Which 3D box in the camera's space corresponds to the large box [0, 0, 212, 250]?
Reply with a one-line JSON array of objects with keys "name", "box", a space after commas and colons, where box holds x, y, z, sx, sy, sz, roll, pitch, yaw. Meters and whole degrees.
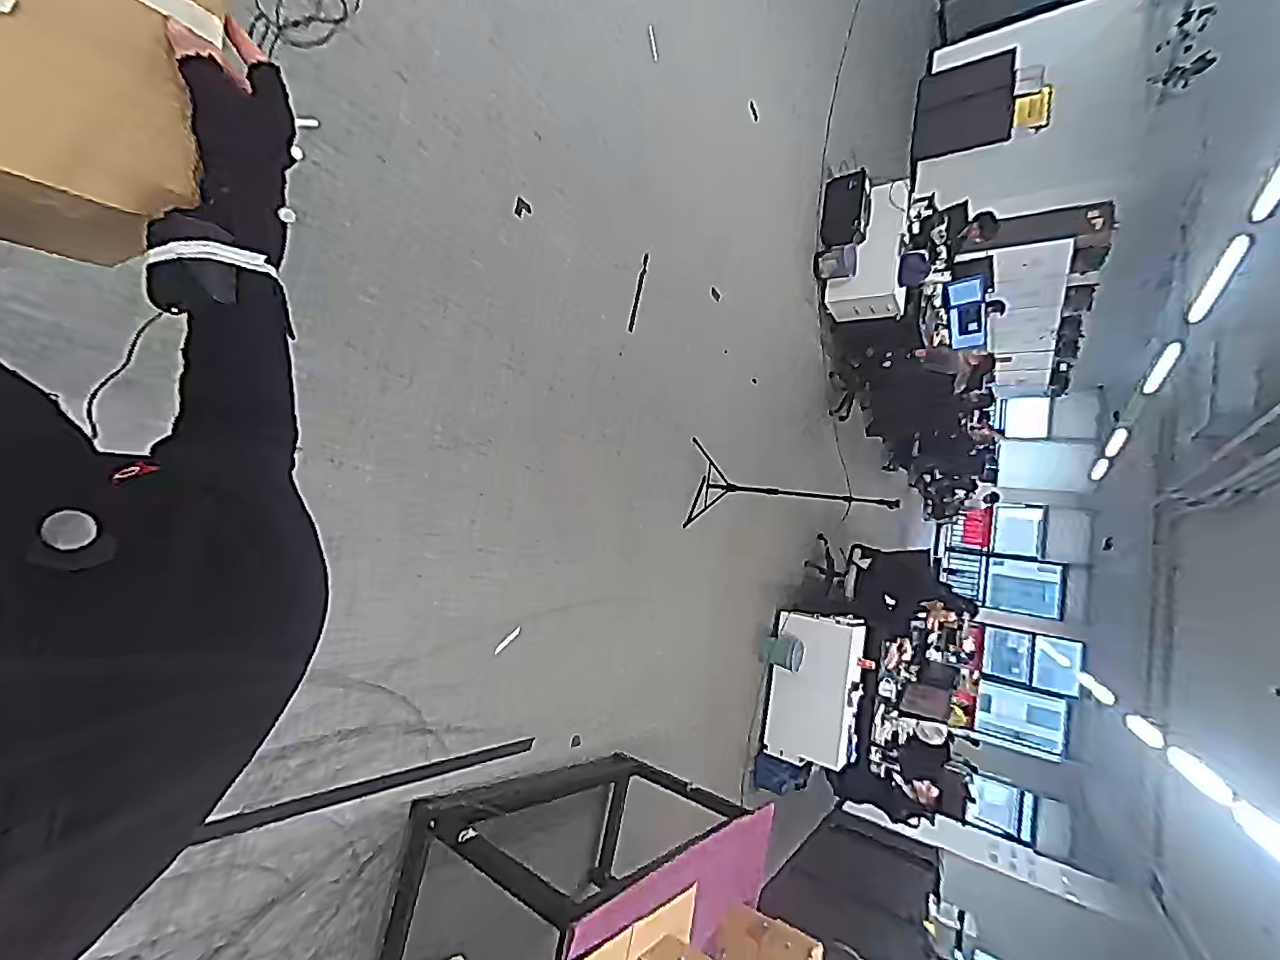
[{"name": "large box", "box": [-0.582, -0.392, 0.359, 0.408, 0.320, 0.320, 5, 96, -55]}]
